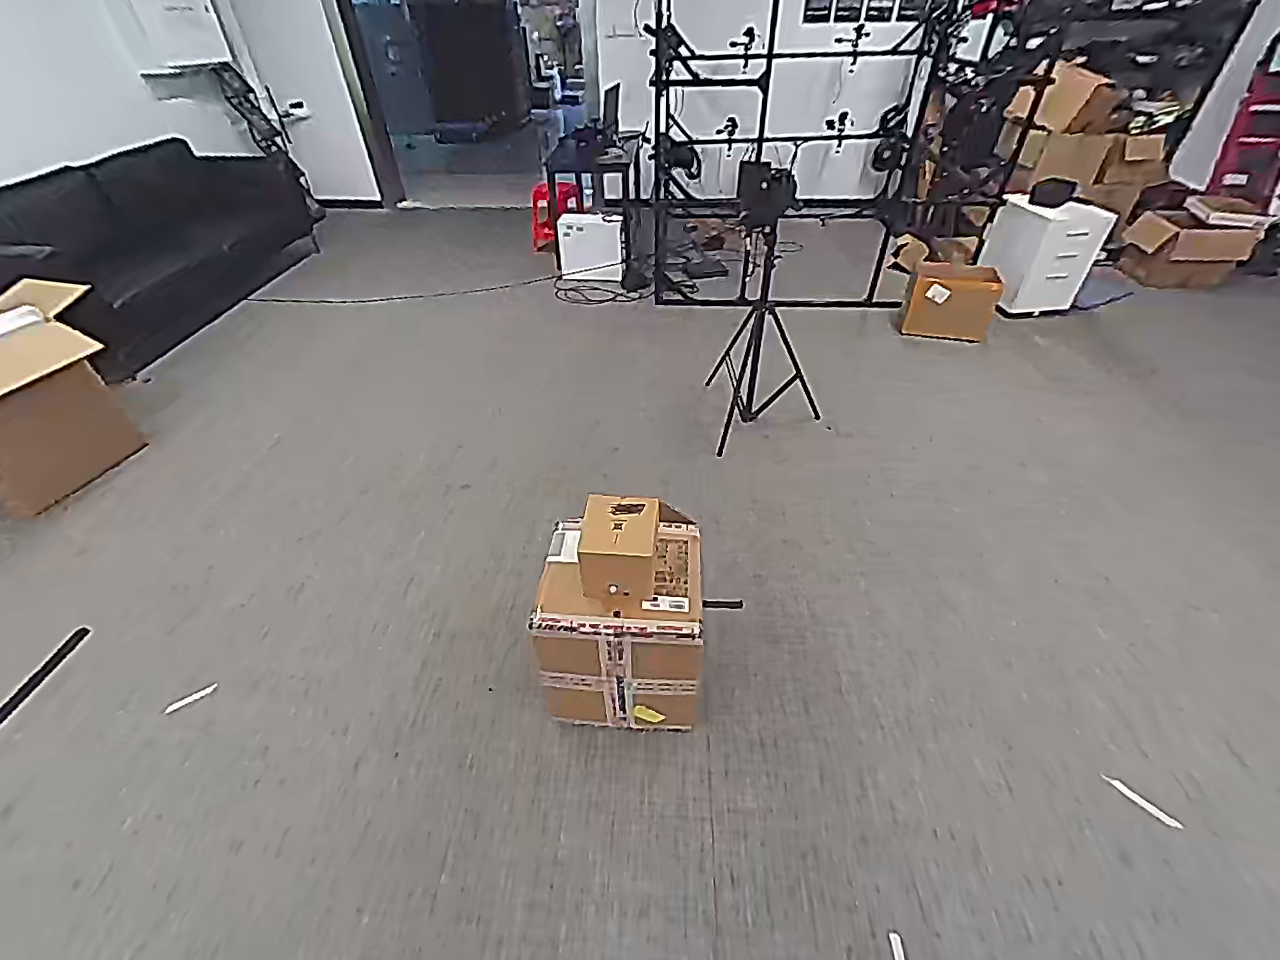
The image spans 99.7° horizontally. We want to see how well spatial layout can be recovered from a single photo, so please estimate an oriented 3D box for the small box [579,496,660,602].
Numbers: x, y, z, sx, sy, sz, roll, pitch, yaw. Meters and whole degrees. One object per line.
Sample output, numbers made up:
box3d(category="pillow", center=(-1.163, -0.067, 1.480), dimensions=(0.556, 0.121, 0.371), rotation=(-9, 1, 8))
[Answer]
box3d(category="small box", center=(-0.042, 0.161, 1.269), dimensions=(0.168, 0.176, 0.179), rotation=(3, 44, 5))
